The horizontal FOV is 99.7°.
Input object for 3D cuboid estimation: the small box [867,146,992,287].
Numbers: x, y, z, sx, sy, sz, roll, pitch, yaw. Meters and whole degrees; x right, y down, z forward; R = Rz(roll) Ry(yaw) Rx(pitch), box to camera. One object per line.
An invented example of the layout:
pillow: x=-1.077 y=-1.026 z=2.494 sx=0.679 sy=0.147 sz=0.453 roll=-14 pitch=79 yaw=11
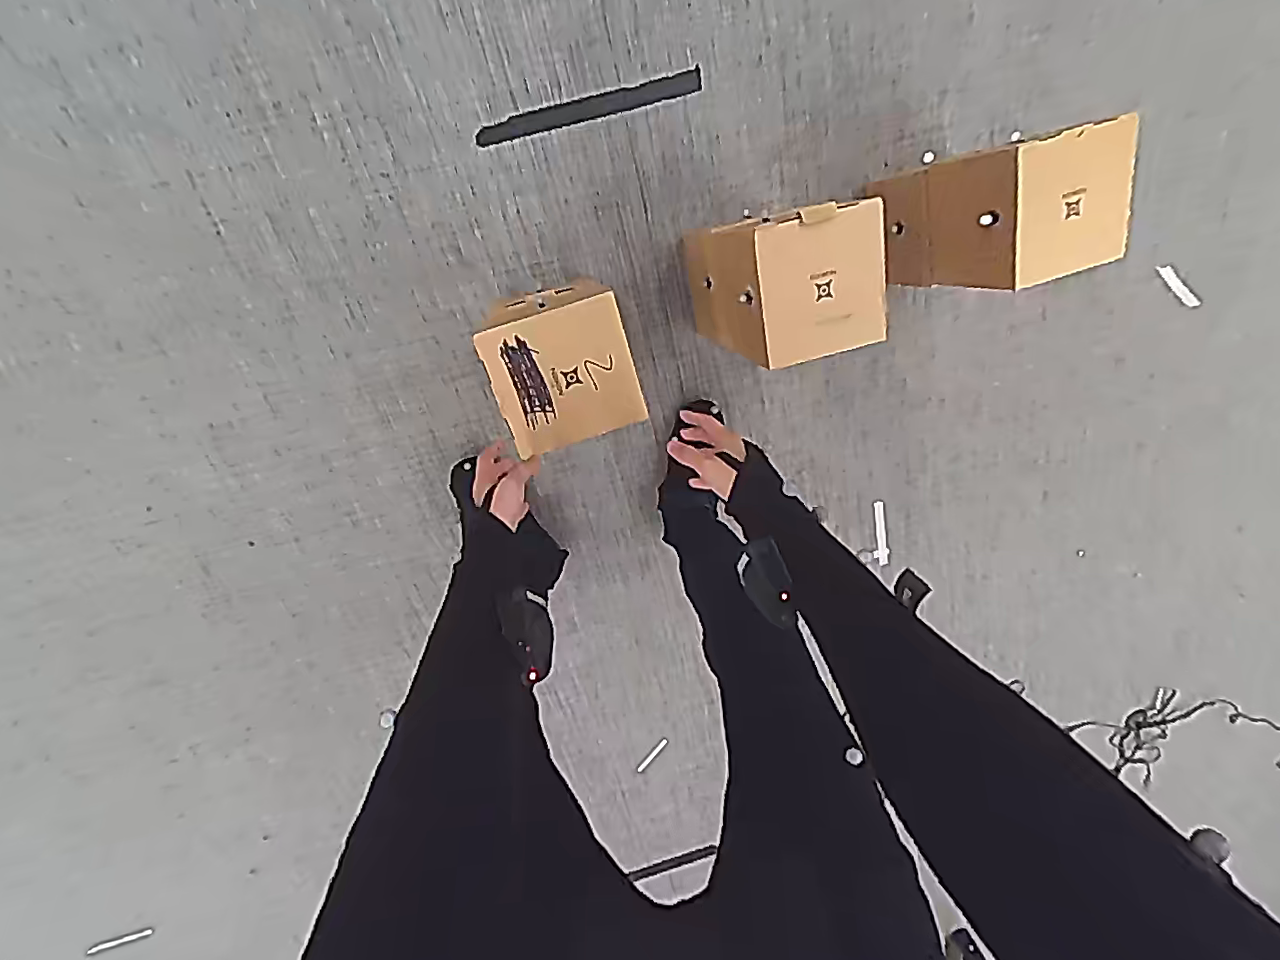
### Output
small box: x=0.503 y=-0.437 z=0.902 sx=0.168 sy=0.176 sz=0.179 roll=-19 pitch=114 yaw=-4

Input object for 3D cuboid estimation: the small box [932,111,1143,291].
small box: x=0.536 y=-0.378 z=0.755 sx=0.168 sy=0.176 sz=0.179 roll=-18 pitch=113 yaw=-4

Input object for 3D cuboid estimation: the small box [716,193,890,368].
small box: x=0.212 y=-0.267 z=0.732 sx=0.168 sy=0.176 sz=0.179 roll=-15 pitch=114 yaw=-4

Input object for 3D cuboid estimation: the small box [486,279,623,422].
small box: x=-0.136 y=-0.214 z=0.866 sx=0.168 sy=0.176 sz=0.179 roll=-16 pitch=114 yaw=-4

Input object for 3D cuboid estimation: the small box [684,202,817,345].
small box: x=0.180 y=-0.334 z=0.878 sx=0.168 sy=0.176 sz=0.179 roll=-15 pitch=115 yaw=-5
